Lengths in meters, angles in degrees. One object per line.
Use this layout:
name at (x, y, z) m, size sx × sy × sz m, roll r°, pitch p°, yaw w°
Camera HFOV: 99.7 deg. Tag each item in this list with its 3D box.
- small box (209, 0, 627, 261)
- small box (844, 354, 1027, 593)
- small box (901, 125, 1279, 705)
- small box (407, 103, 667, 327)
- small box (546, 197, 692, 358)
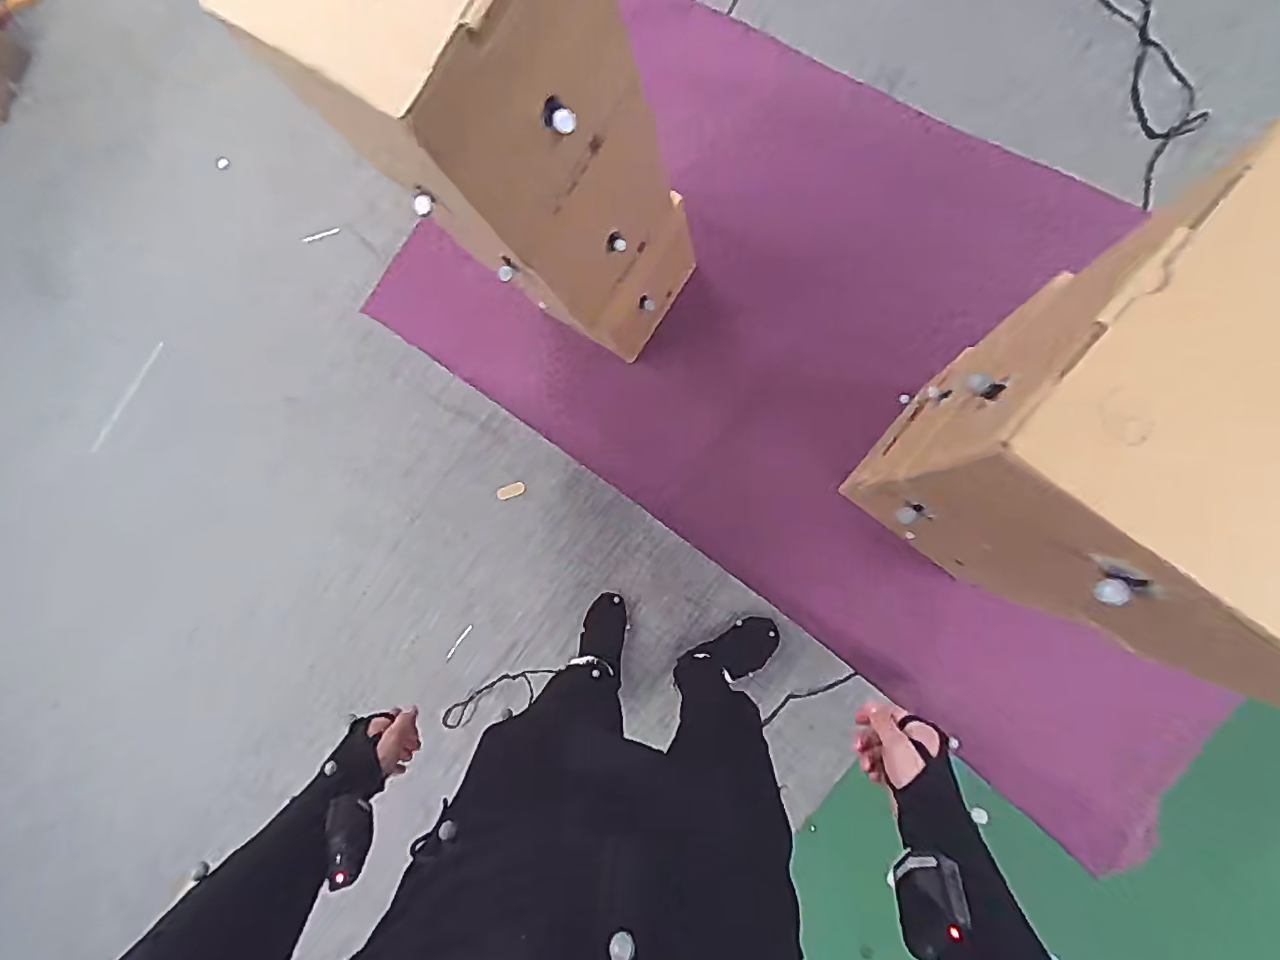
small box at (-0.132, -0.287, 0.383) m, size 0.179 × 0.176 × 0.168 m, roll 35°, pitch 93°, yaw 13°
small box at (0.347, -0.001, 0.584) m, size 0.179 × 0.176 × 0.168 m, roll 39°, pitch 94°, yaw 13°
small box at (0.265, -0.012, 0.267) m, size 0.179 × 0.176 × 0.168 m, roll 41°, pitch 96°, yaw 13°
small box at (-0.093, -0.277, 0.542) m, size 0.179 × 0.176 × 0.168 m, roll 36°, pitch 94°, yaw 14°
small box at (-0.050, -0.278, 0.702) m, size 0.179 × 0.176 × 0.168 m, roll 34°, pitch 94°, yaw 14°
